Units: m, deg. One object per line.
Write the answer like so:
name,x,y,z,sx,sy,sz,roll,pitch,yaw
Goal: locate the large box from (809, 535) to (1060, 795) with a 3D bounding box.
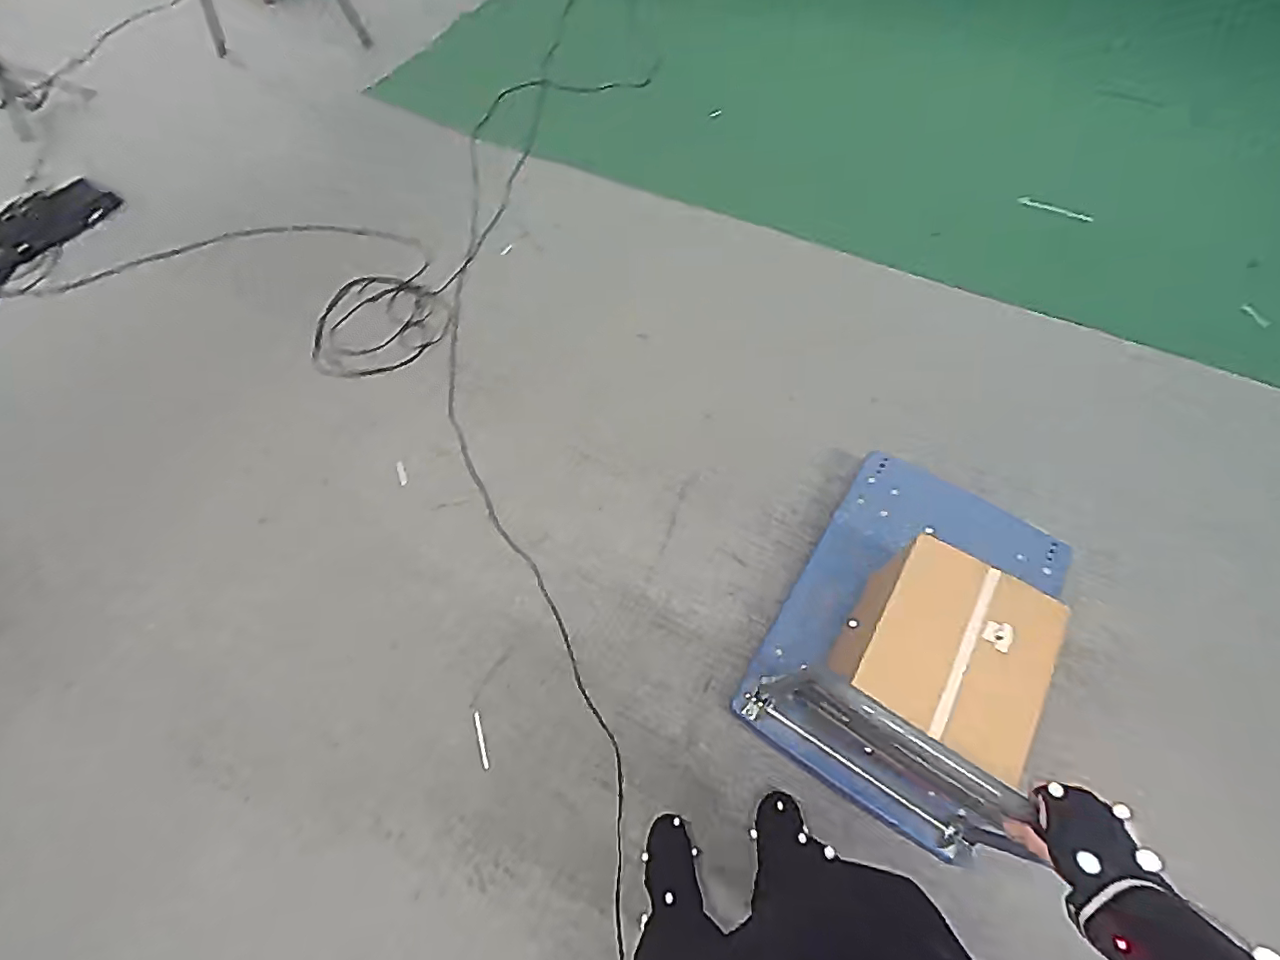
large box,0.622,0.406,1.186,0.320,0.320,0.408,30,66,15
